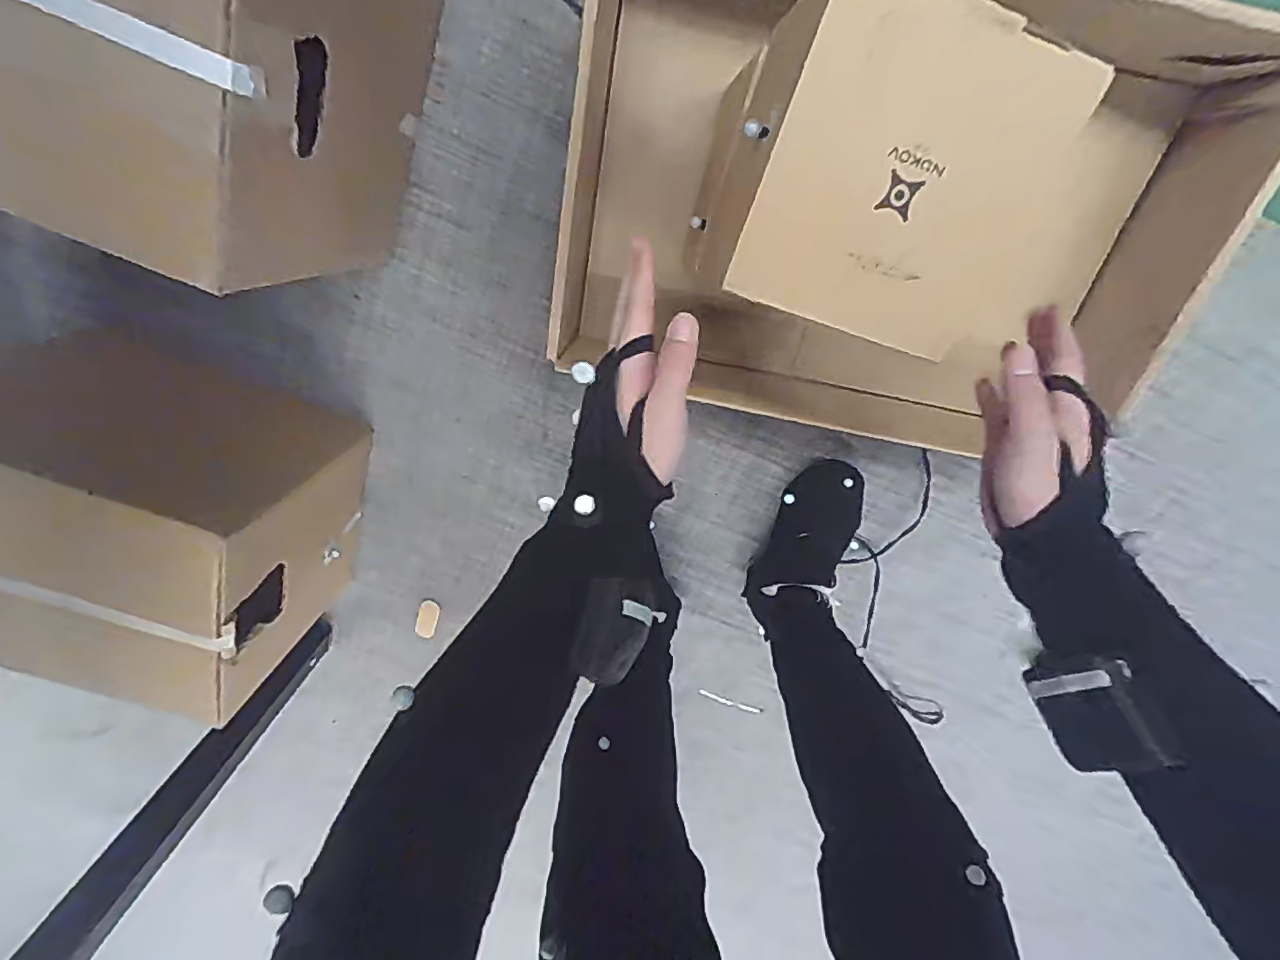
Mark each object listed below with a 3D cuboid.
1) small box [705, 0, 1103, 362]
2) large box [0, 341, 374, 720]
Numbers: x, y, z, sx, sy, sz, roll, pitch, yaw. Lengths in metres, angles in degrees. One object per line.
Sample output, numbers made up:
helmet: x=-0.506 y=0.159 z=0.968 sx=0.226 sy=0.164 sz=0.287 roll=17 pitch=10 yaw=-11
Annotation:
small box: x=0.156 y=-0.213 z=0.396 sx=0.168 sy=0.176 sz=0.179 roll=16 pitch=117 yaw=-8
large box: x=-0.640 y=0.049 z=0.732 sx=0.408 sy=0.320 sz=0.320 roll=20 pitch=114 yaw=-5
